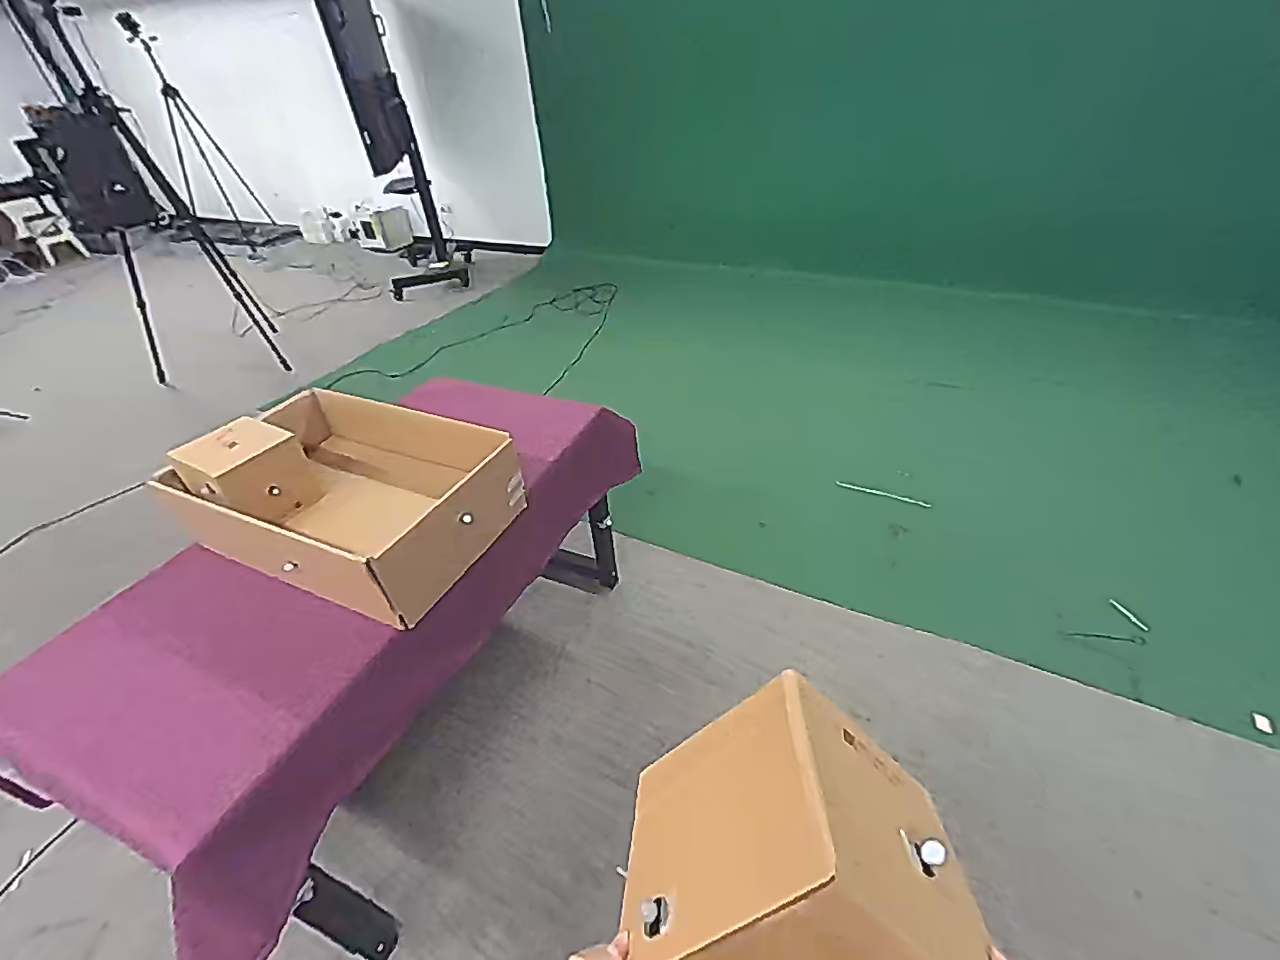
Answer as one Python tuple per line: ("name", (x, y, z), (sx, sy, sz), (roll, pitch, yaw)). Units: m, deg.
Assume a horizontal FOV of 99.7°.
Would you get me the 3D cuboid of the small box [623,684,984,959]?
("small box", (0.107, 0.289, 0.394), (0.179, 0.168, 0.176), (-45, 8, 20))
